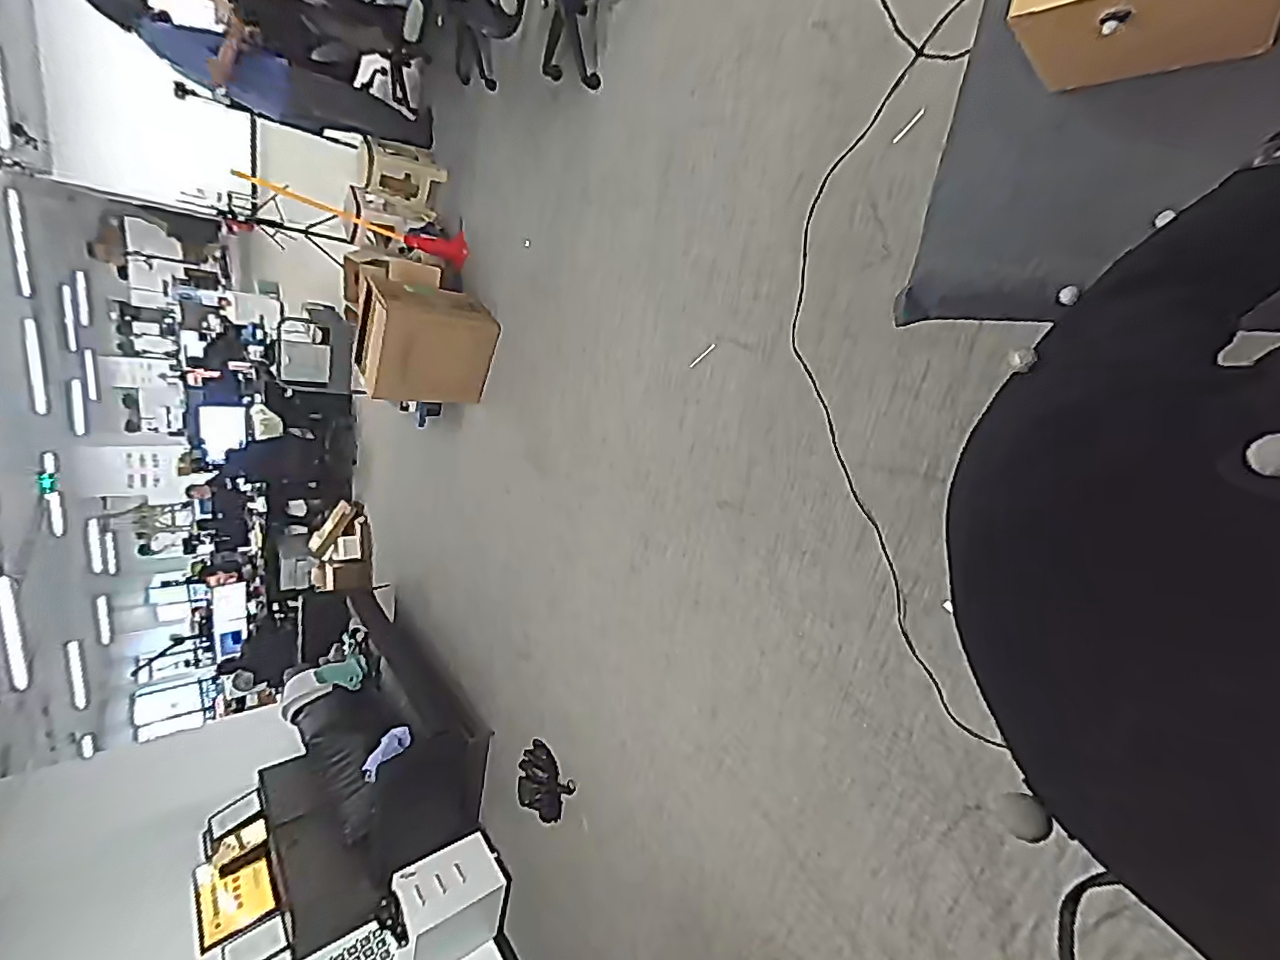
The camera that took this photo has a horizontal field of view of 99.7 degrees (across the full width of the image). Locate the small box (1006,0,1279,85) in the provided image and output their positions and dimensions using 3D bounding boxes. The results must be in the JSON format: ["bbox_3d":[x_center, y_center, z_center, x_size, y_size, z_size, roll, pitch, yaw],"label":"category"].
[{"bbox_3d":[0.474,-0.493,0.487,0.179,0.176,0.168,23,111,44],"label":"small box"}]
